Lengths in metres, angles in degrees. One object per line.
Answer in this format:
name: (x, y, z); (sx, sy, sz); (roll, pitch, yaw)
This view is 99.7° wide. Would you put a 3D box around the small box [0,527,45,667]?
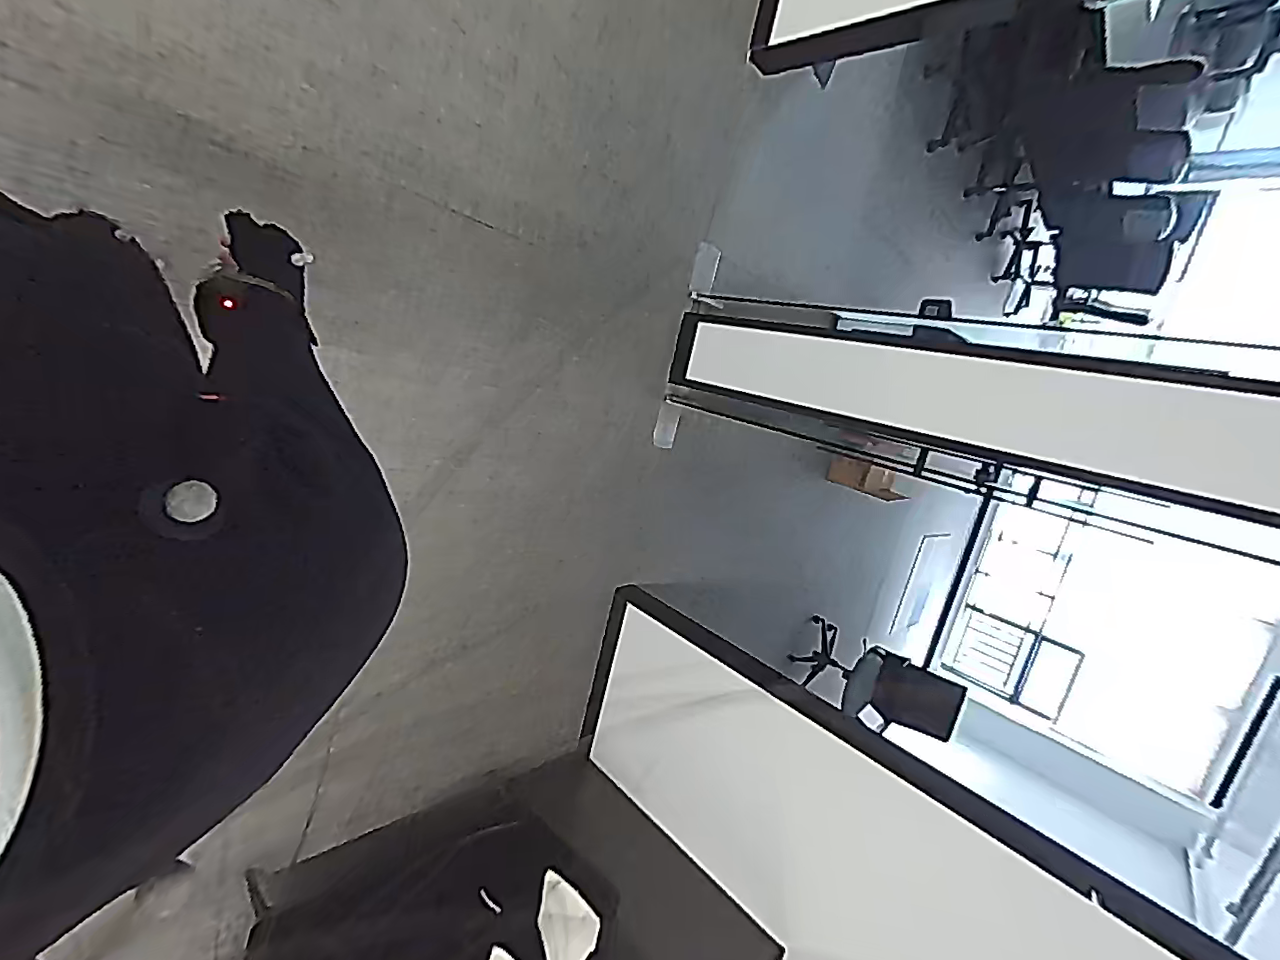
small box: (-1.067, 0.185, 0.851); (0.168, 0.176, 0.179); (3, 106, -48)
